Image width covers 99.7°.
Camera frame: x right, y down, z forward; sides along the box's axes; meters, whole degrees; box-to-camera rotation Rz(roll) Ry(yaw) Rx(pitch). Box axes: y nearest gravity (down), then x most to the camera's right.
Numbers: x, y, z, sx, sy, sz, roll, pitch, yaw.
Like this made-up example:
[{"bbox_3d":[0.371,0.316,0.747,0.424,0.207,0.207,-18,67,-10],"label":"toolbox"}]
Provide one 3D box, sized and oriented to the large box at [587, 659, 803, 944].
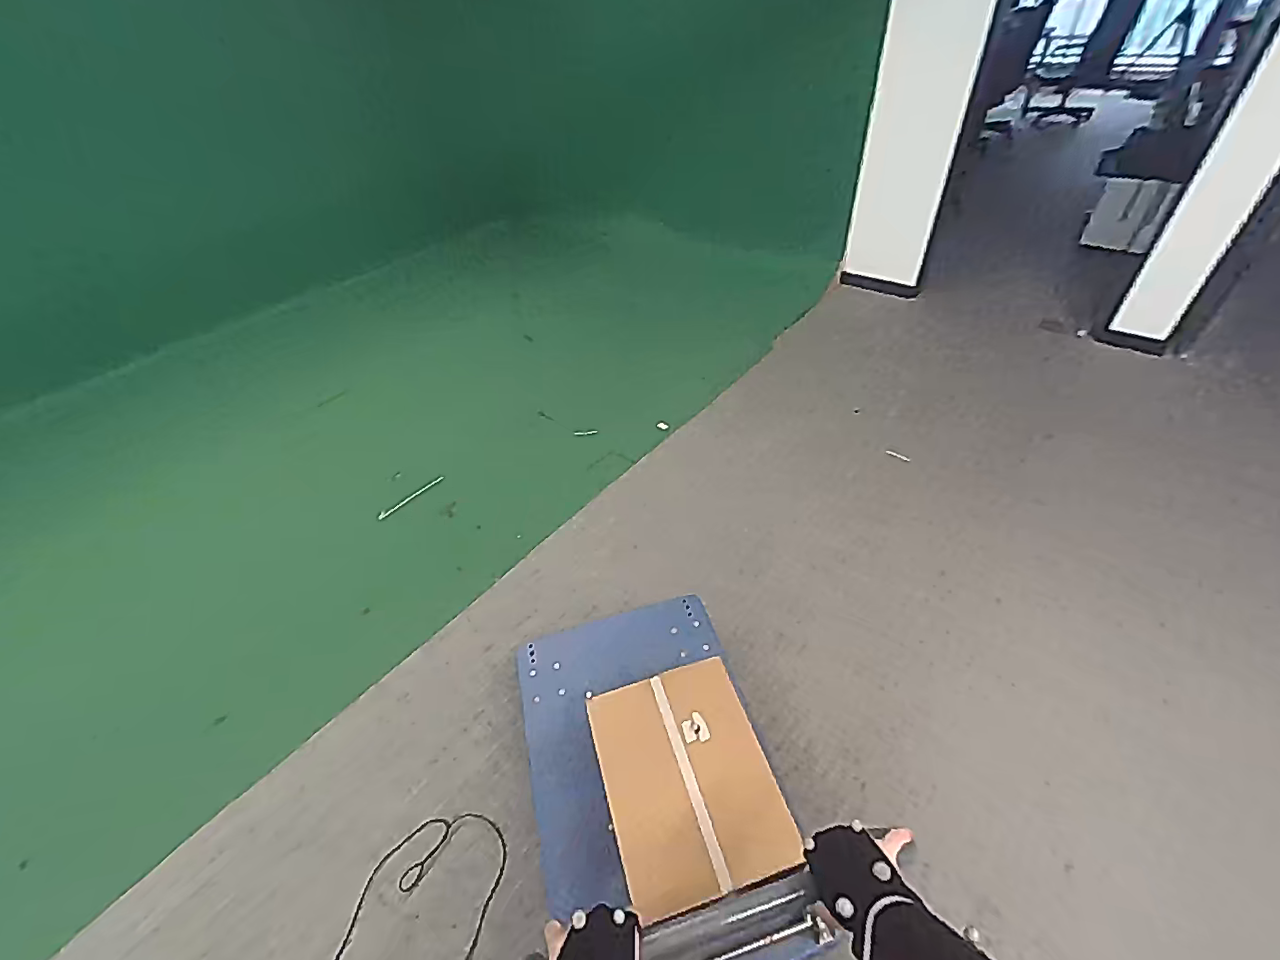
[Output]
[{"bbox_3d":[0.100,0.678,1.166,0.320,0.320,0.408,-14,43,-10],"label":"large box"}]
